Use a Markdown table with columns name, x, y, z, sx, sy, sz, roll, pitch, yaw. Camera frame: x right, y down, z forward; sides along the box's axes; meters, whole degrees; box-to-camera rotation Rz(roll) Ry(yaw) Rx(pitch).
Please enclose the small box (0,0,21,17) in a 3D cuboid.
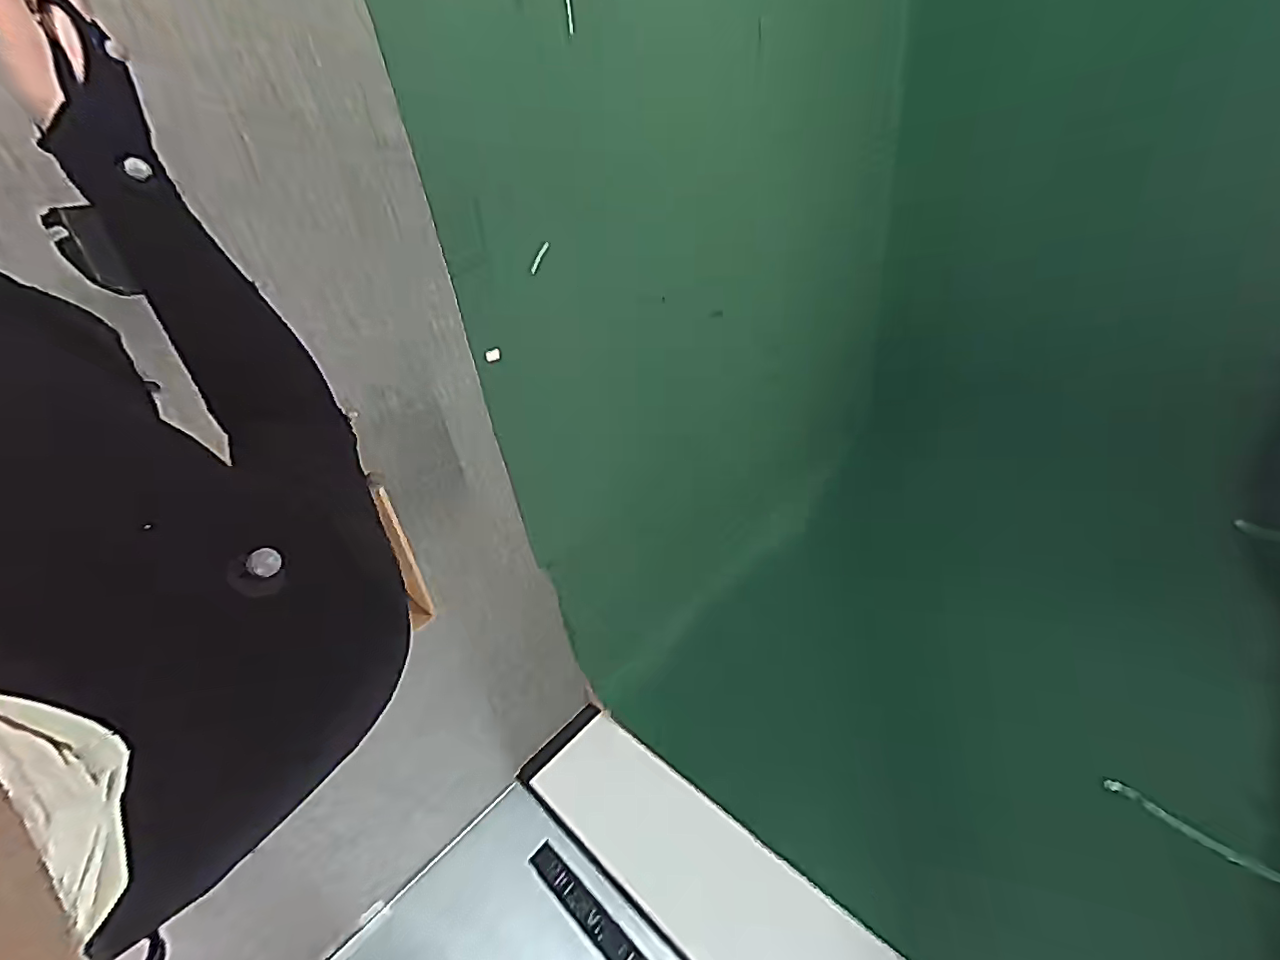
| name | x | y | z | sx | sy | sz | roll | pitch | yaw |
| --- | --- | --- | --- | --- | --- | --- | --- | --- | --- |
| small box | -0.503 | -0.429 | 0.324 | 0.168 | 0.176 | 0.179 | -3 | 112 | -53 |
